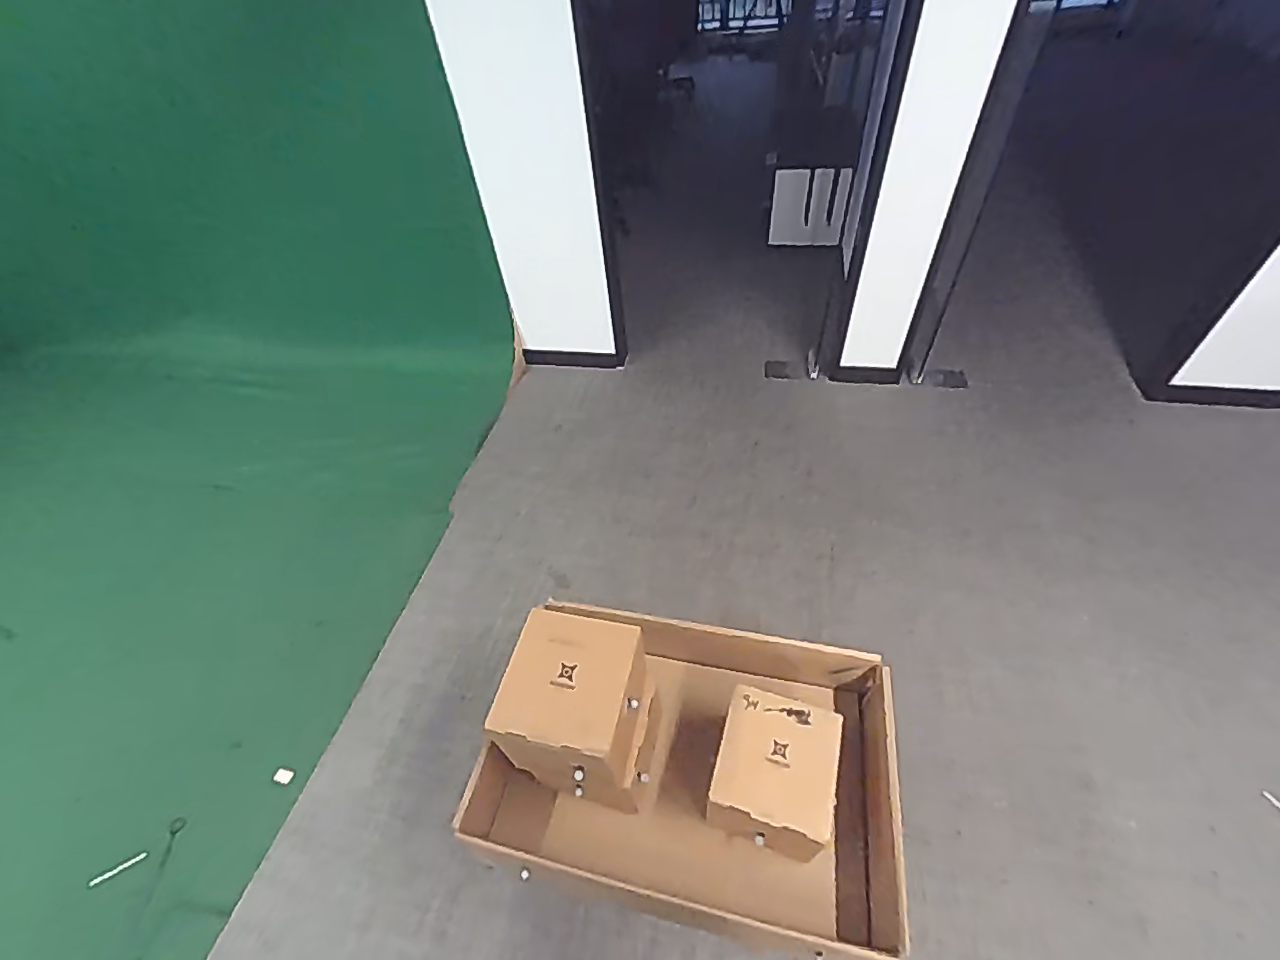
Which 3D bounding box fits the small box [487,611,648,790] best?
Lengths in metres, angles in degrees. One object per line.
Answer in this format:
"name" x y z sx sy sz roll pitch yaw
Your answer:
"small box" -0.088 0.318 0.776 0.168 0.176 0.179 7 48 13
